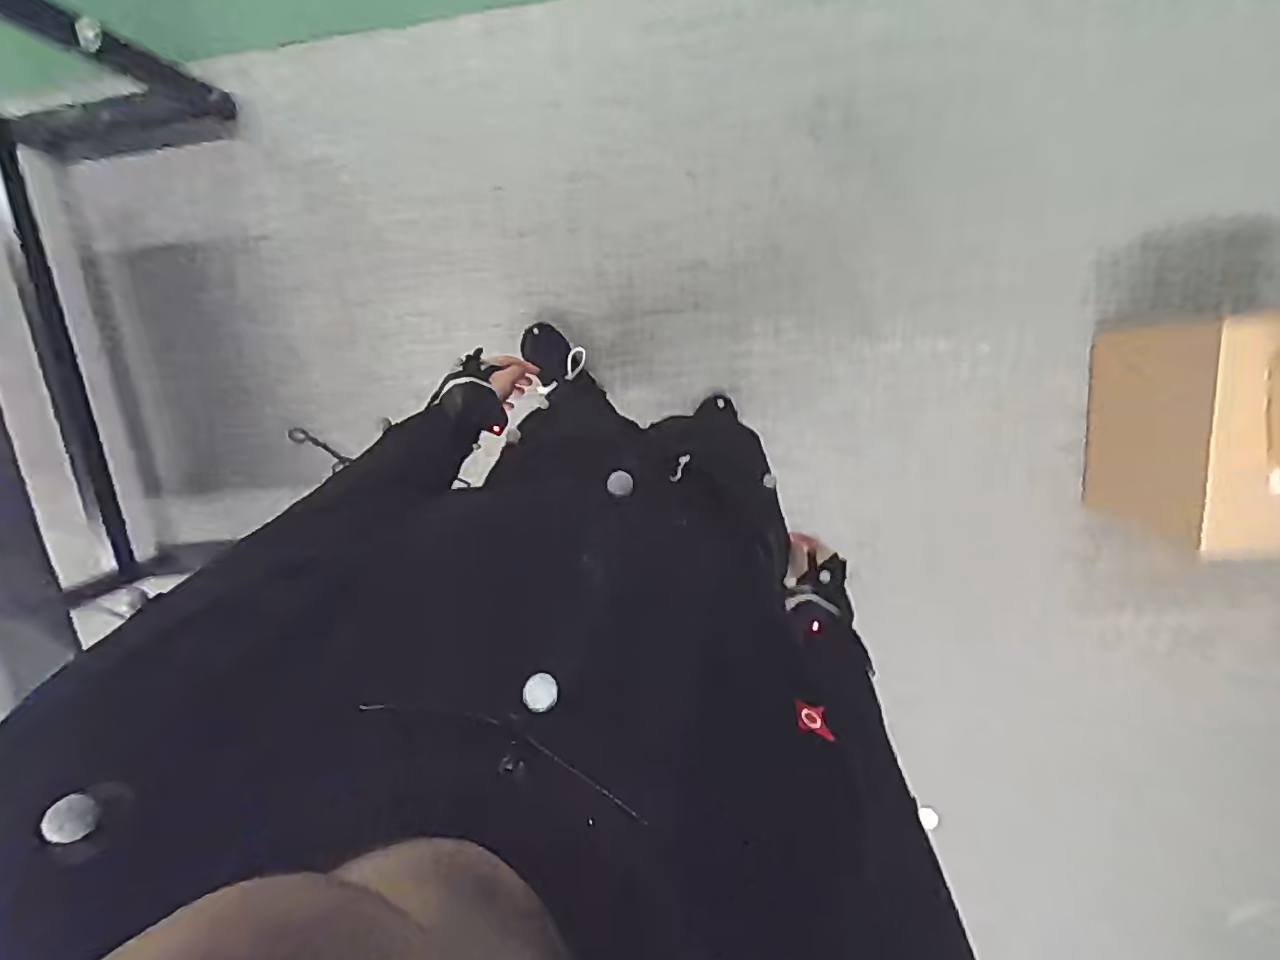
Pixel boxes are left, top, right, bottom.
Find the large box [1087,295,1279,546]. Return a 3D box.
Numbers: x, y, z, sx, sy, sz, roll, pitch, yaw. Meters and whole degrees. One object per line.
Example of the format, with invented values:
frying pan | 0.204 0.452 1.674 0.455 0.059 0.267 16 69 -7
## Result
large box | 1.123 -0.128 1.031 0.320 0.320 0.408 -6 104 9
